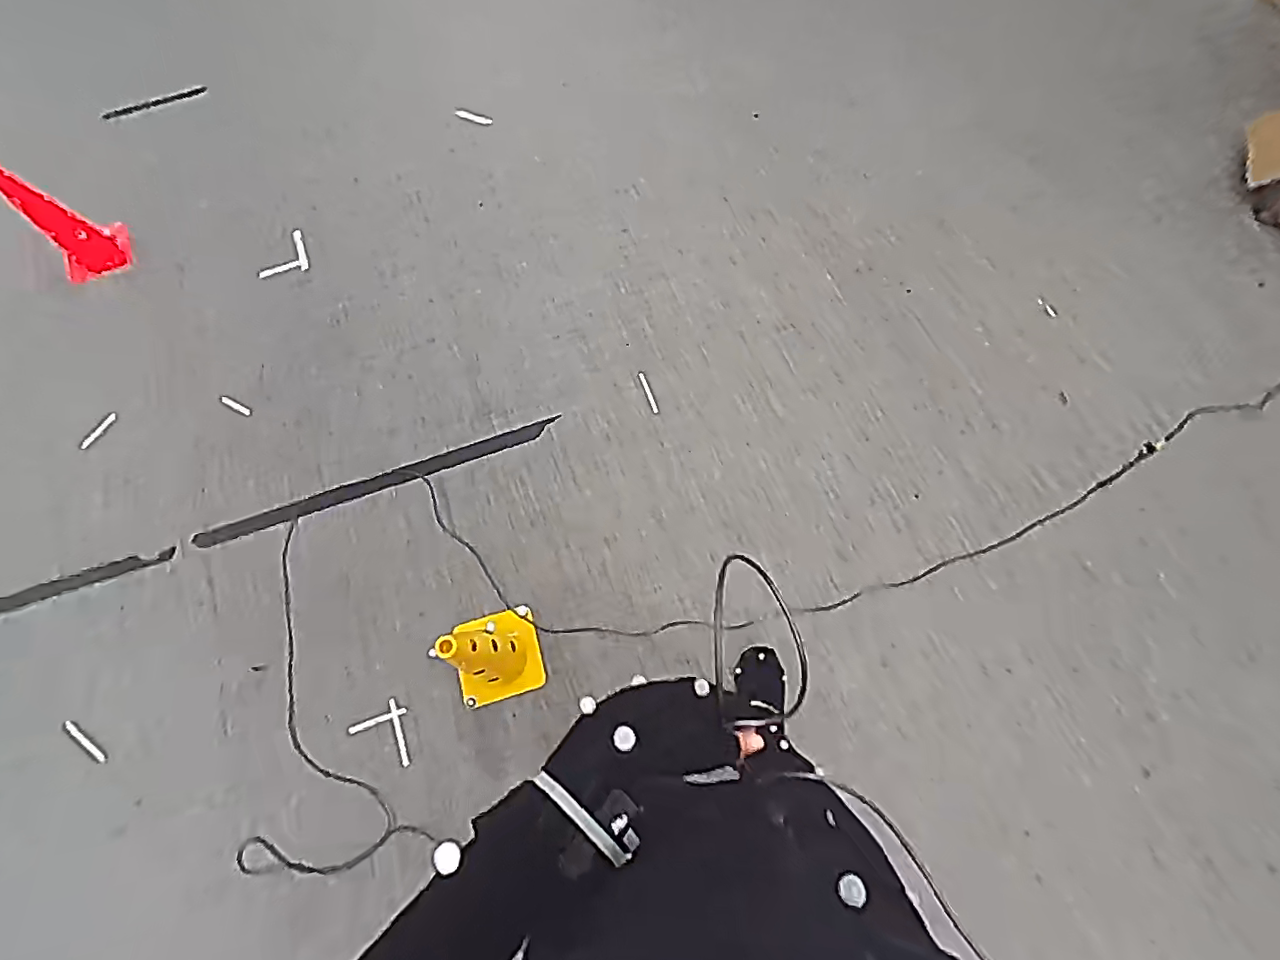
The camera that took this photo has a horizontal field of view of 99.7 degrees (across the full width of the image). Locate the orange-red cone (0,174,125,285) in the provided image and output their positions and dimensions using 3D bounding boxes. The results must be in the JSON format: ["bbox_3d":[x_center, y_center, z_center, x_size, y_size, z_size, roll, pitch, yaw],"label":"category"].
[{"bbox_3d":[-1.829,-0.805,1.641,0.199,0.360,0.198,-24,70,-5],"label":"orange-red cone"}]
